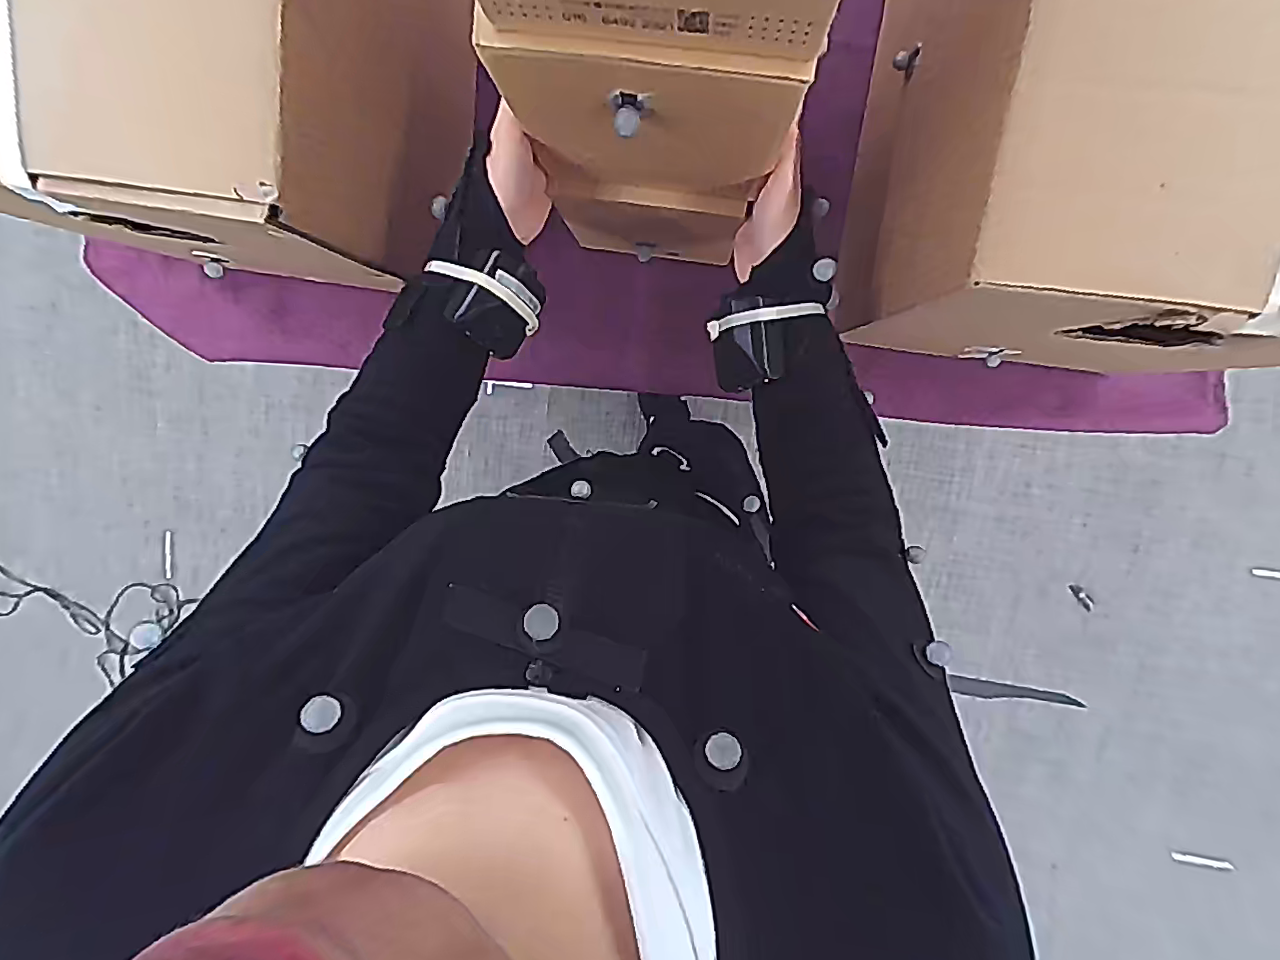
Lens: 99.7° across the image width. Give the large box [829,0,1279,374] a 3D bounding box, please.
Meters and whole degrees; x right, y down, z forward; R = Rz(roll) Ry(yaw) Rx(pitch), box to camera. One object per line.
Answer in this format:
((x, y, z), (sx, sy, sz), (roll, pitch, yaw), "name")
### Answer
((0.362, -0.302, 0.411), (0.320, 0.320, 0.408), (7, 98, 2), "large box")
